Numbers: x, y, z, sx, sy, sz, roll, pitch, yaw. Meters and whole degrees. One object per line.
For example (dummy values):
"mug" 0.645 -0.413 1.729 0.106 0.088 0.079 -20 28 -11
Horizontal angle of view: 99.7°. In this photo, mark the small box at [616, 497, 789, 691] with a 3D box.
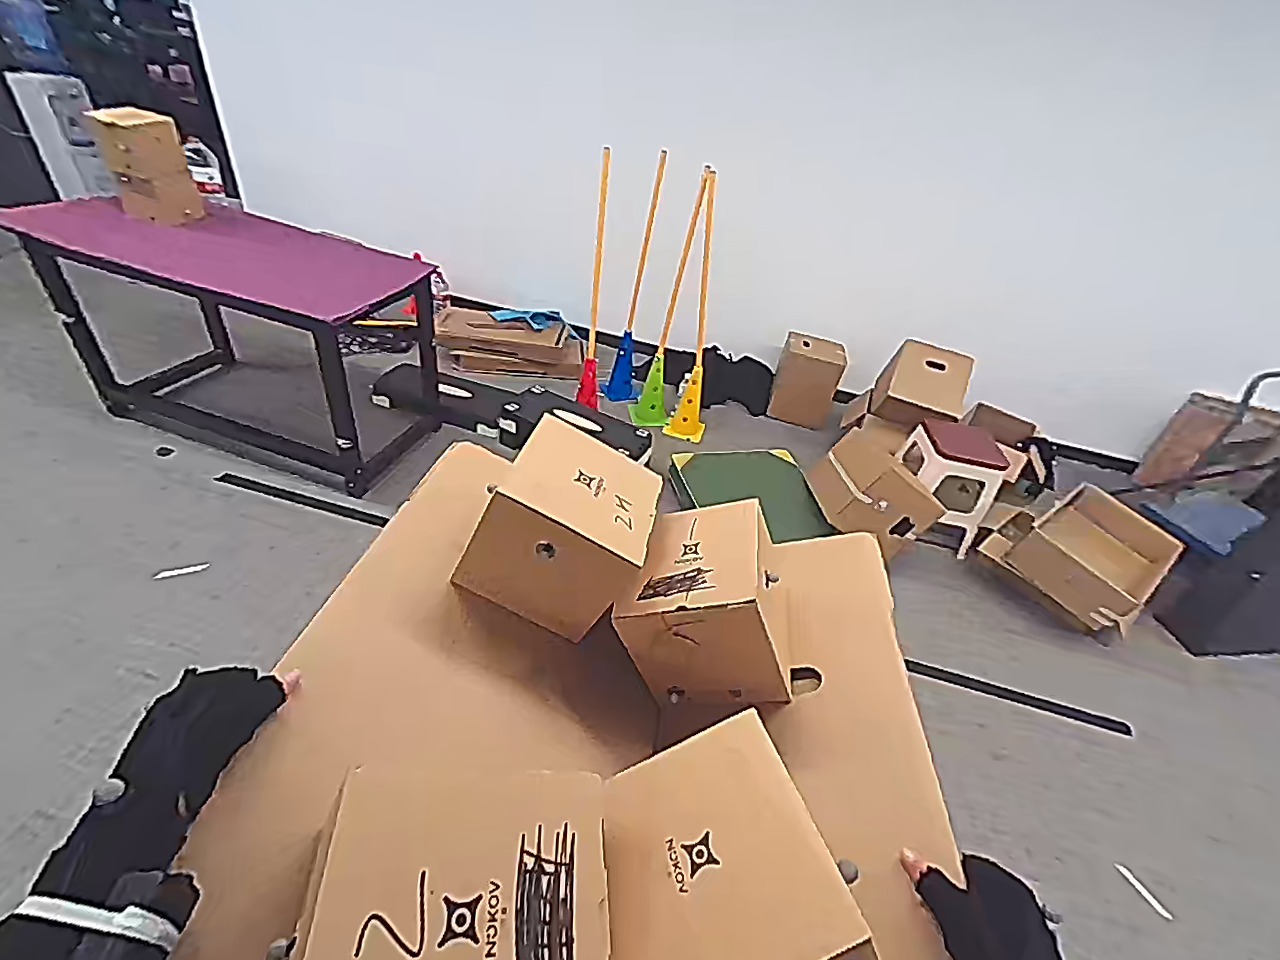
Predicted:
"small box" 0.090 0.150 0.686 0.168 0.176 0.179 -11 31 21
